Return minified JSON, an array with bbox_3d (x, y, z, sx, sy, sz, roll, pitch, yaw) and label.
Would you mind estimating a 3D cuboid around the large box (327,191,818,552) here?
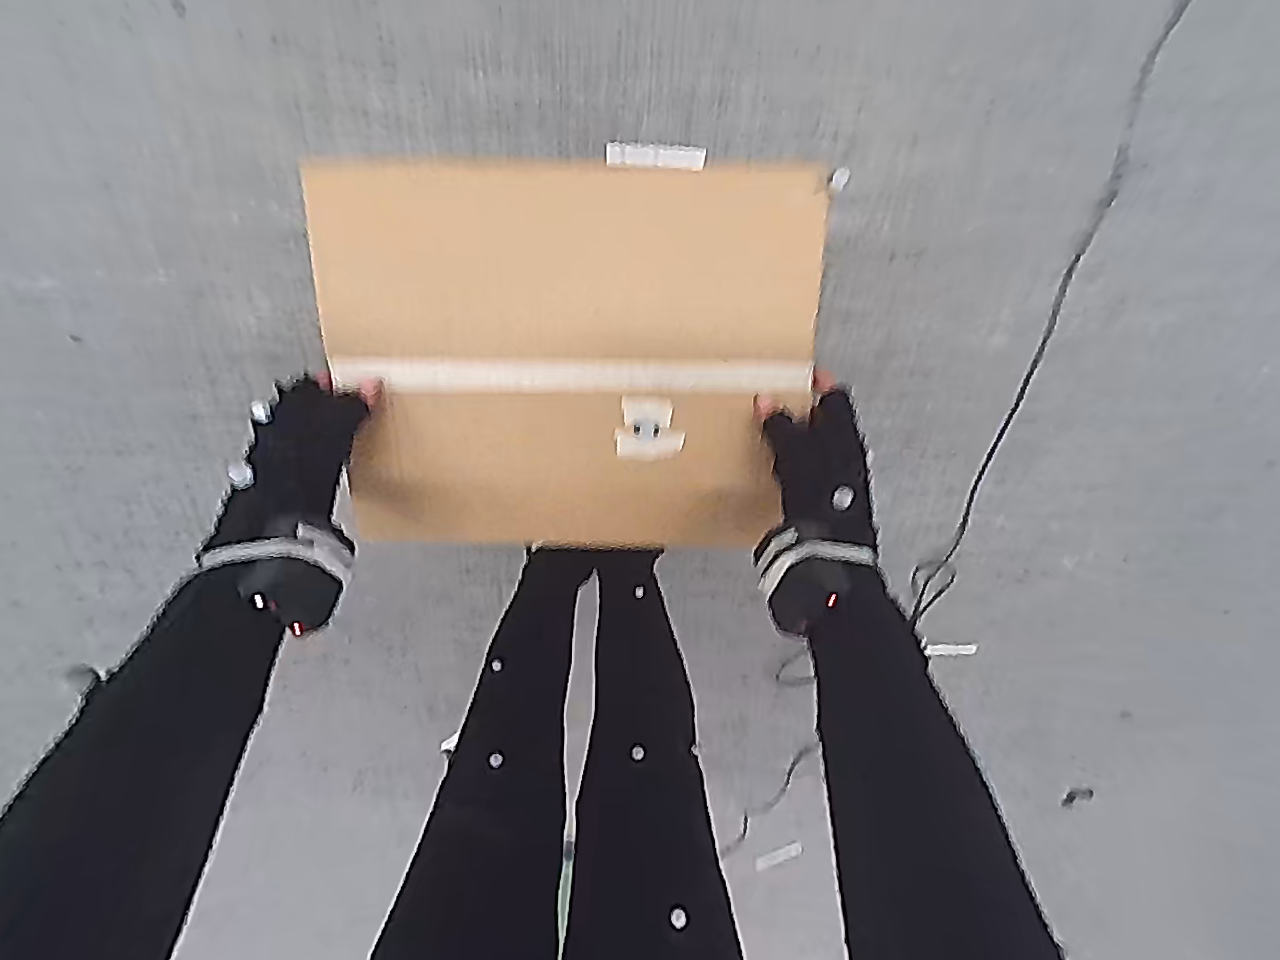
[{"bbox_3d":[-0.055,-0.119,0.615,0.408,0.320,0.320,0,106,0],"label":"large box"}]
